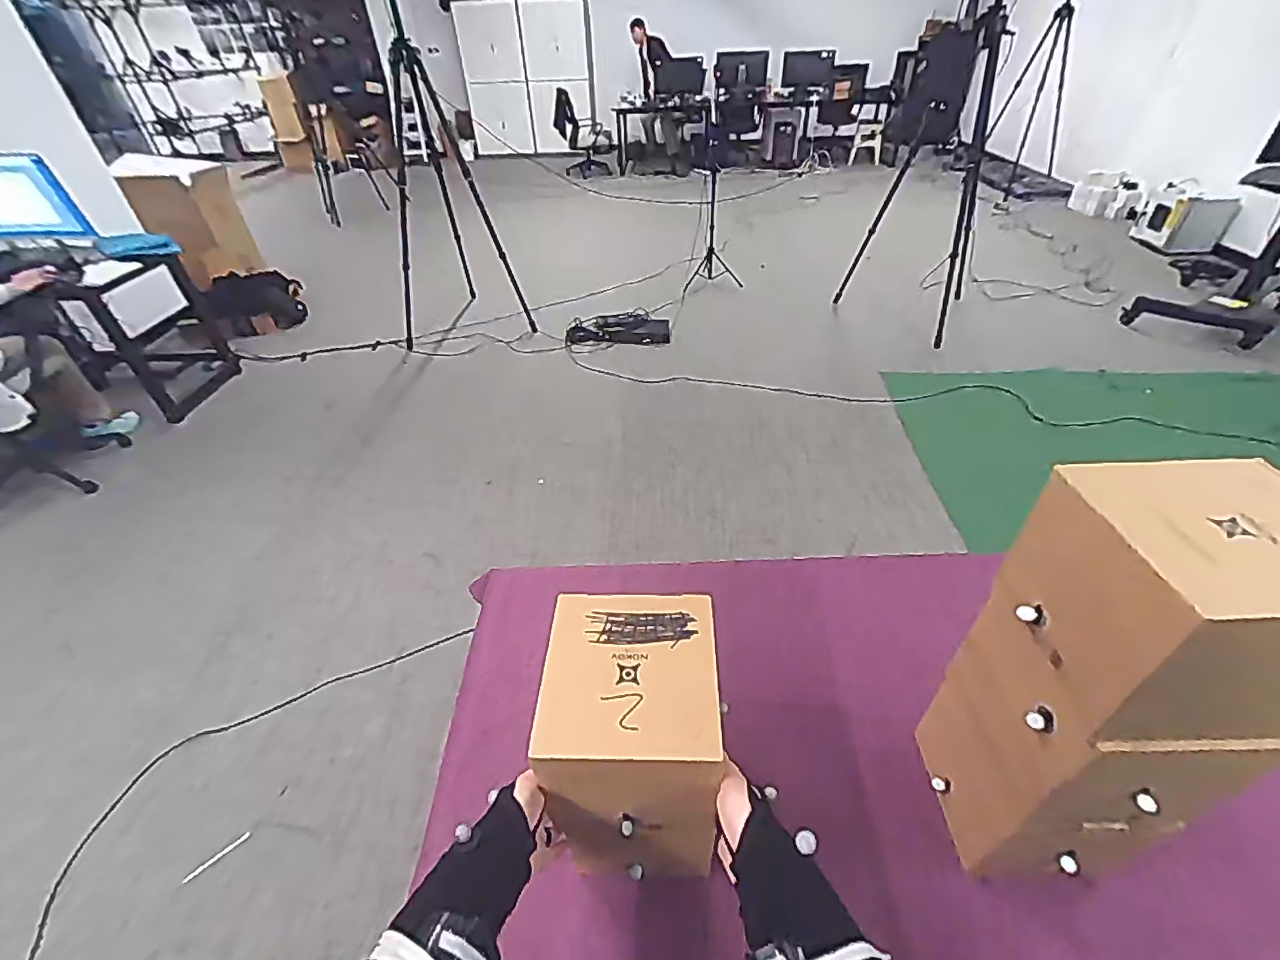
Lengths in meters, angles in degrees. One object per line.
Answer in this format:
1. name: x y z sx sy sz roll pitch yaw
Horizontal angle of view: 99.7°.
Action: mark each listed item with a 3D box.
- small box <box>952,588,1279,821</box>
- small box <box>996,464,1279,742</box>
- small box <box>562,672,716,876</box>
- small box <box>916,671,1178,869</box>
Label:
1. small box: 0.462 0.231 0.558 0.168 0.176 0.179 -1 40 2
2. small box: 0.451 0.103 0.457 0.179 0.176 0.168 -2 39 2
3. small box: 0.004 0.365 0.679 0.168 0.176 0.179 0 41 3
4. small box: 0.471 0.357 0.665 0.168 0.176 0.179 -1 41 2
